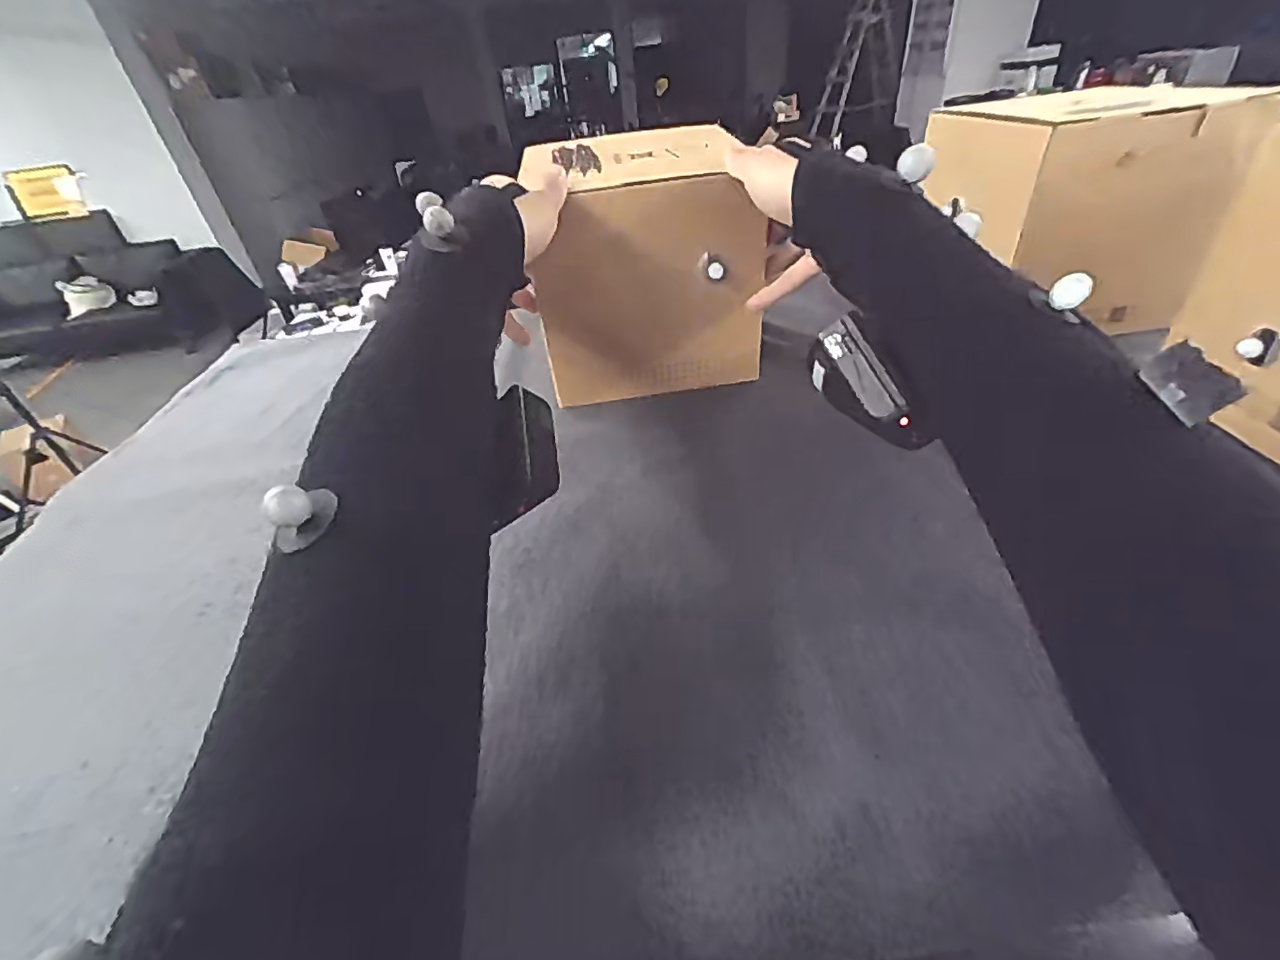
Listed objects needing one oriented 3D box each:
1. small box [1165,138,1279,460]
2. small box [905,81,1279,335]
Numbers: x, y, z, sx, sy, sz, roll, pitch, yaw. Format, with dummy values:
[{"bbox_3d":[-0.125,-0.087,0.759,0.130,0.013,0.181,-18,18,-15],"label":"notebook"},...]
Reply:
[{"bbox_3d":[0.449,-0.098,0.279,0.179,0.176,0.168,-3,35,7],"label":"small box"},{"bbox_3d":[0.363,-0.236,0.480,0.168,0.176,0.179,-7,36,1],"label":"small box"}]
